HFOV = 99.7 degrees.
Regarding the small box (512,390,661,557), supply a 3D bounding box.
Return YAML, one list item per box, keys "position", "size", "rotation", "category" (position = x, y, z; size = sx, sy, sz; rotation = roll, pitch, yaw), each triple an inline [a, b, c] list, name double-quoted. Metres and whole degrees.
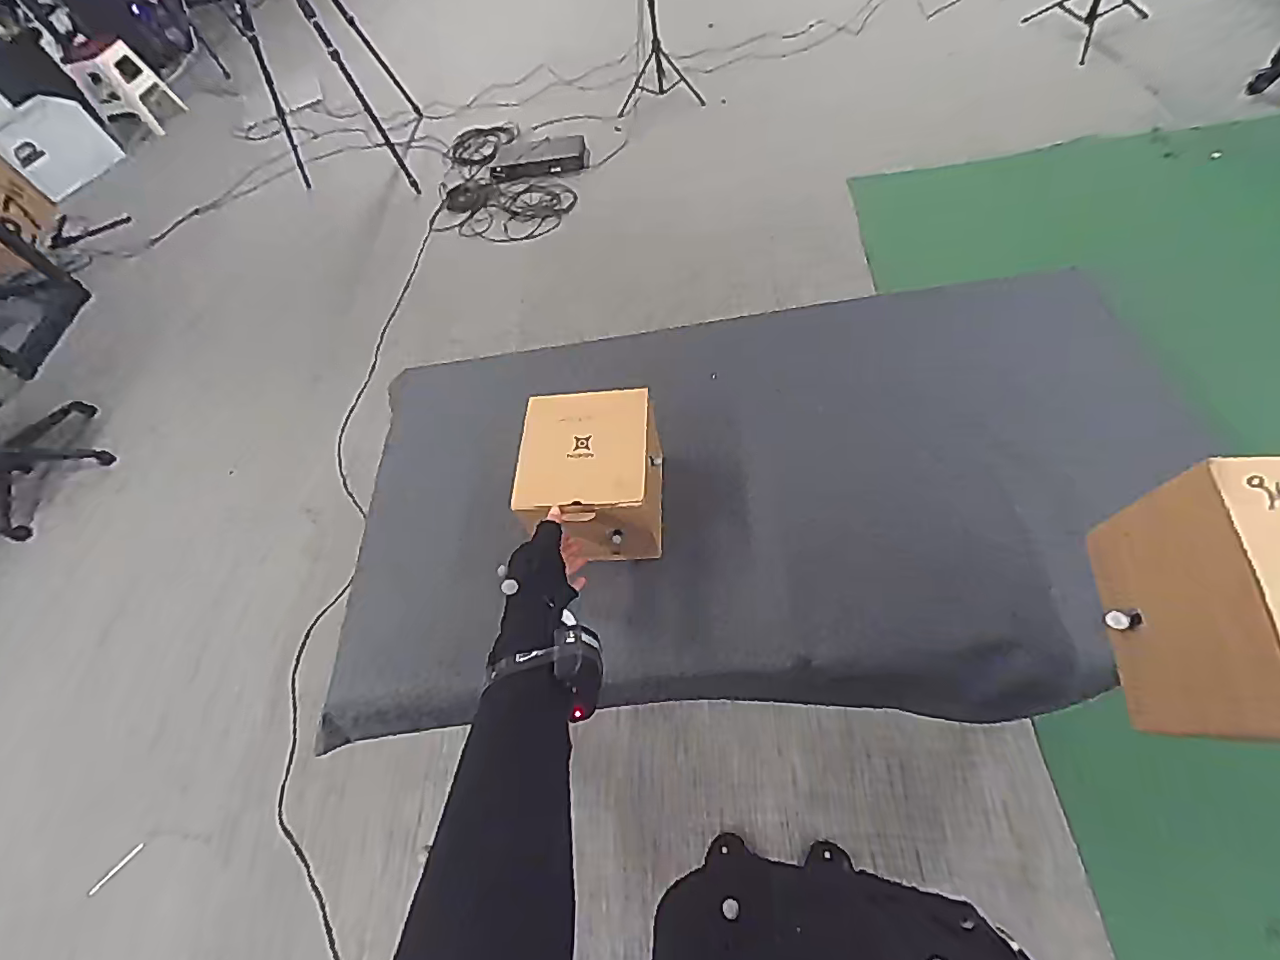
- position: [-0.061, 0.001, 0.747]
  size: [0.168, 0.176, 0.179]
  rotation: [-3, 58, 7]
  category: "small box"
